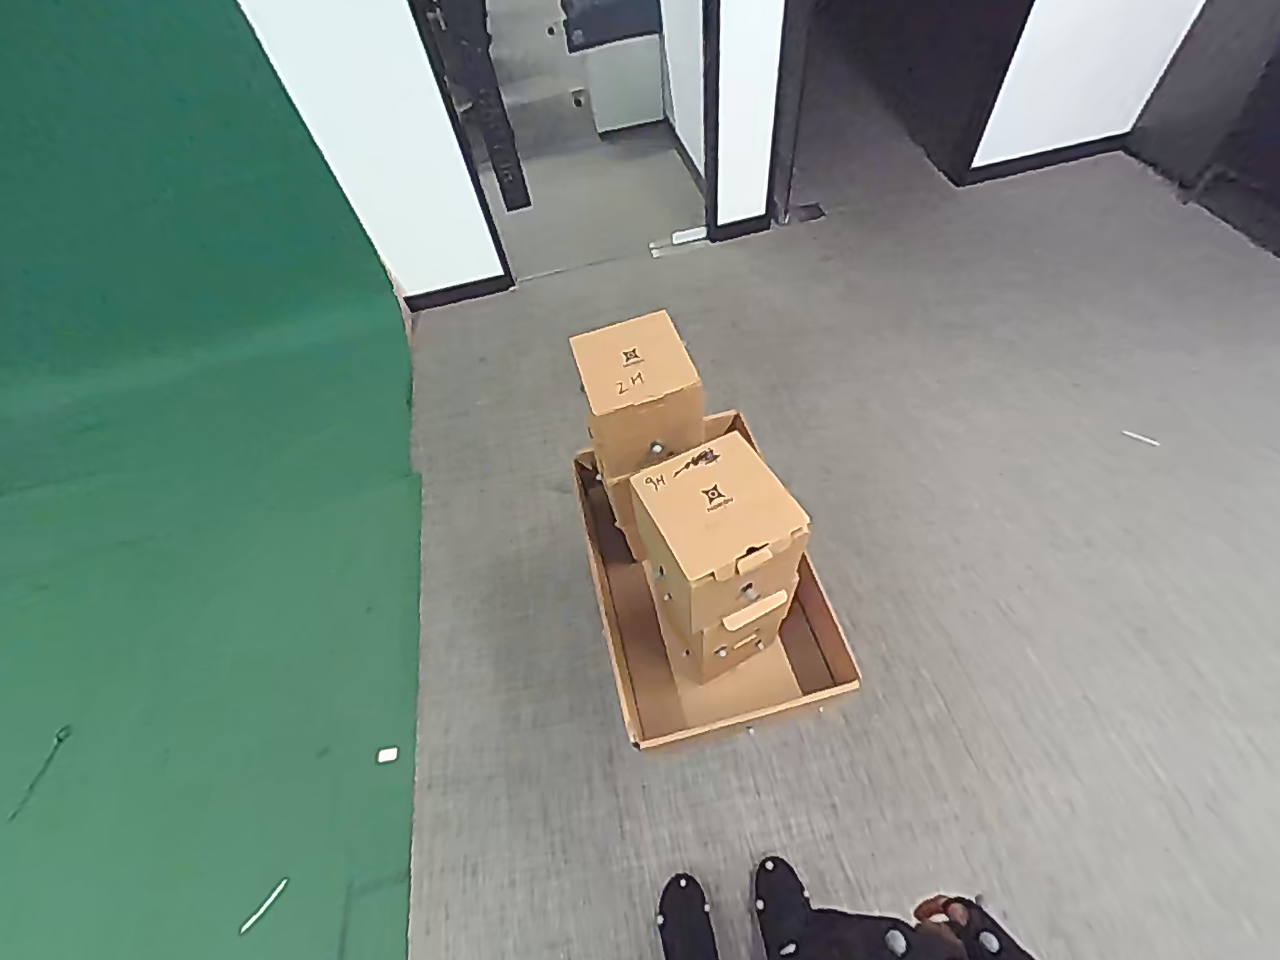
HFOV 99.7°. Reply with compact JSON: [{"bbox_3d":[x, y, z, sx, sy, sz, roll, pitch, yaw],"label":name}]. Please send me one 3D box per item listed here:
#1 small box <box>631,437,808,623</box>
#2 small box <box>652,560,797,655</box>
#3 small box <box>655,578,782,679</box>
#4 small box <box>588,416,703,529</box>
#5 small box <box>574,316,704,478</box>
[{"bbox_3d":[0.103,0.078,0.745,0.168,0.176,0.179,-23,57,-10],"label":"small box"},{"bbox_3d":[0.130,0.165,0.882,0.168,0.176,0.179,-25,56,-11],"label":"small box"},{"bbox_3d":[0.145,0.254,1.018,0.168,0.176,0.179,-25,56,-10],"label":"small box"},{"bbox_3d":[0.017,-0.034,1.028,0.179,0.176,0.168,-19,56,-4],"label":"small box"},{"bbox_3d":[0.001,-0.134,0.897,0.168,0.176,0.179,-18,57,-3],"label":"small box"}]
